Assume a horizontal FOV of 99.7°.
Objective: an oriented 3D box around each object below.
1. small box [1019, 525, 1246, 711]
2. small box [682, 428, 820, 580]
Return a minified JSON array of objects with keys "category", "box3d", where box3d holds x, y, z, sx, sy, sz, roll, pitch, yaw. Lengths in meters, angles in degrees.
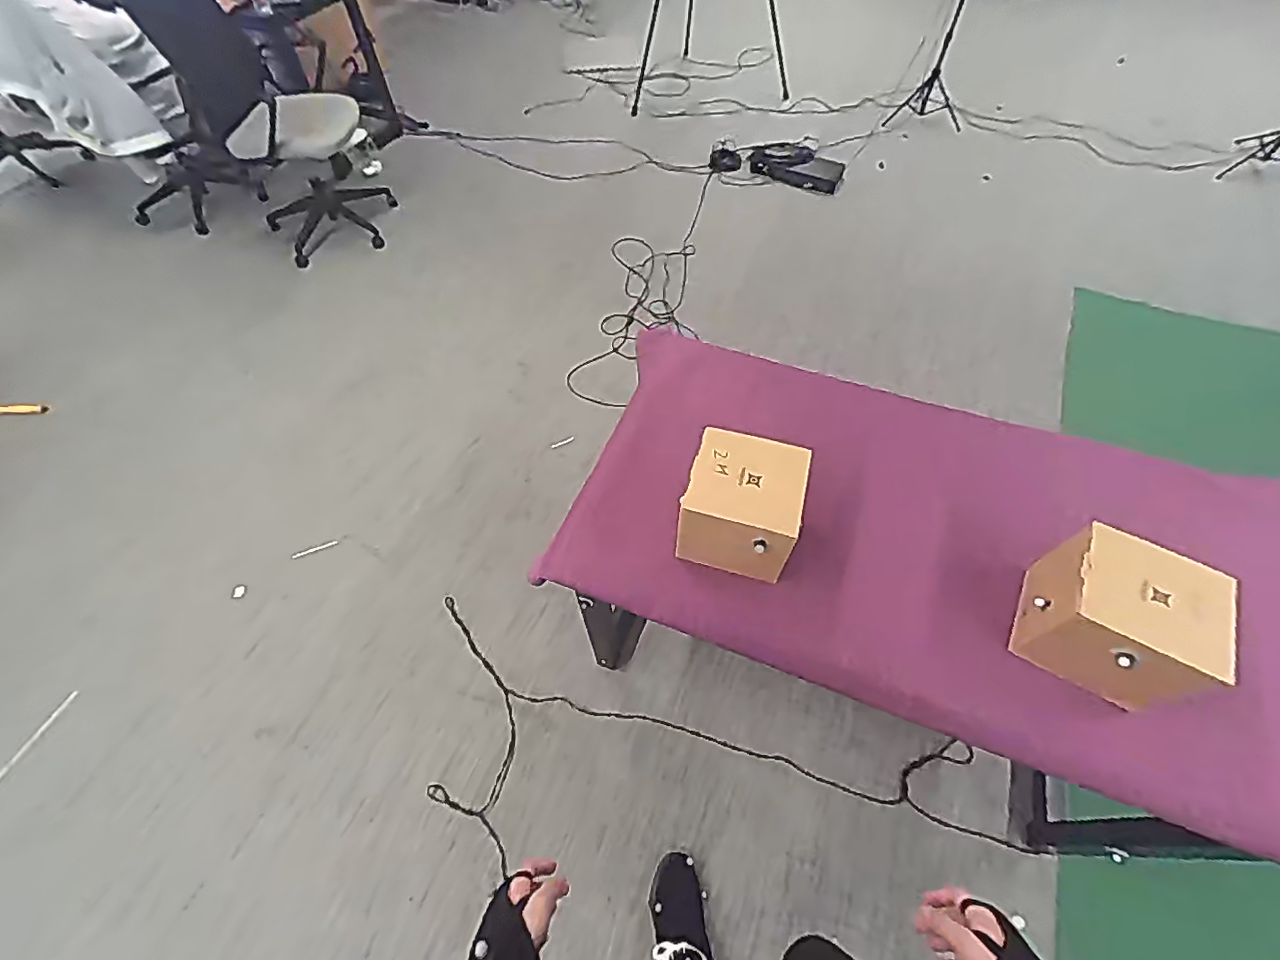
[{"category":"small box","box3d":[0.686,0.202,0.771,0.179,0.176,0.168,28,61,18]},{"category":"small box","box3d":[0.176,0.045,0.886,0.179,0.176,0.168,14,58,10]}]
